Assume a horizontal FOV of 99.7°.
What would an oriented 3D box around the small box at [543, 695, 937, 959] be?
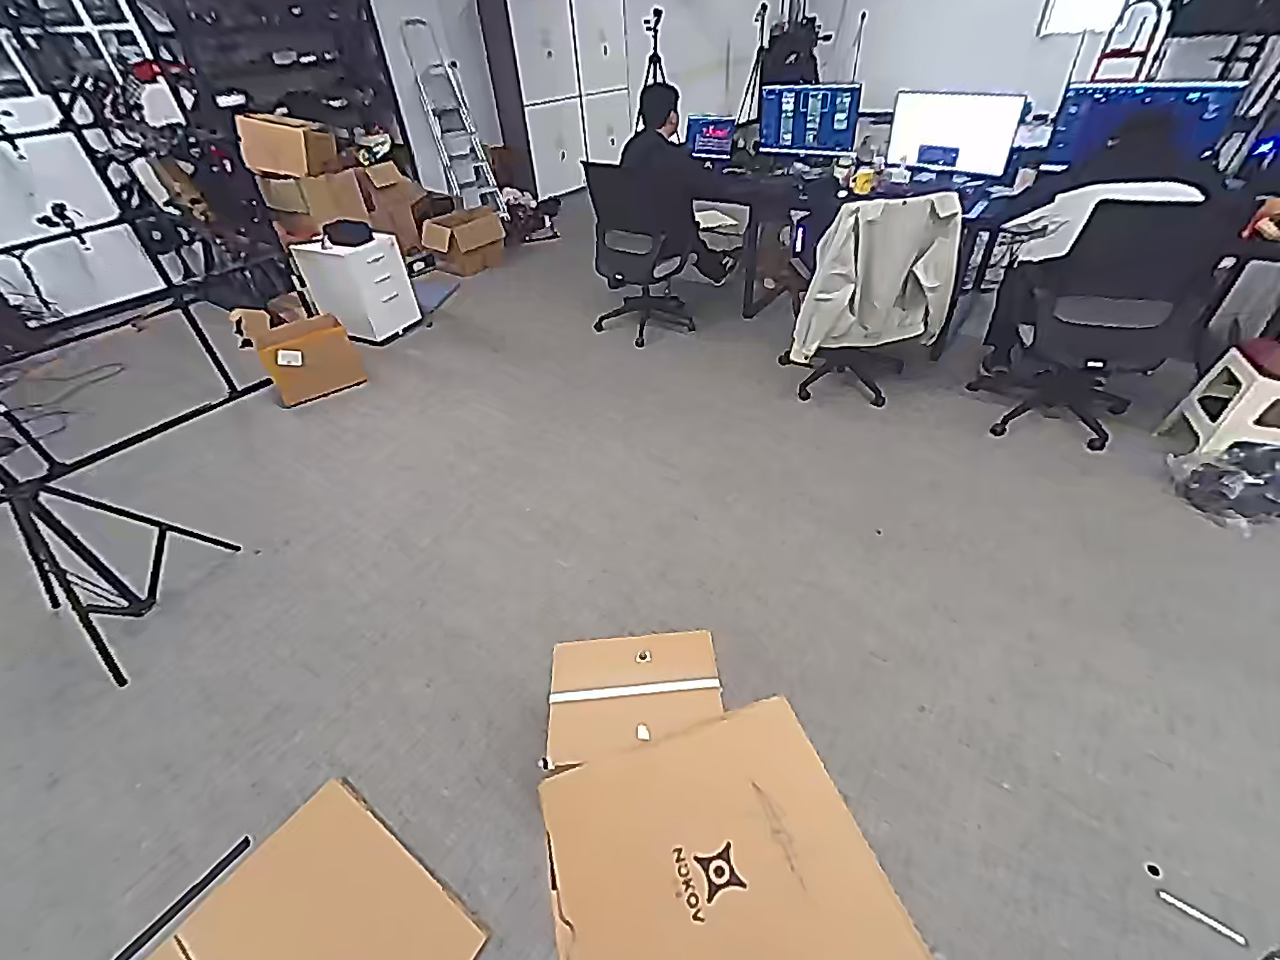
[{"bbox_3d":[0.051,0.279,0.348,0.179,0.176,0.168,-15,39,-10],"label":"small box"}]
